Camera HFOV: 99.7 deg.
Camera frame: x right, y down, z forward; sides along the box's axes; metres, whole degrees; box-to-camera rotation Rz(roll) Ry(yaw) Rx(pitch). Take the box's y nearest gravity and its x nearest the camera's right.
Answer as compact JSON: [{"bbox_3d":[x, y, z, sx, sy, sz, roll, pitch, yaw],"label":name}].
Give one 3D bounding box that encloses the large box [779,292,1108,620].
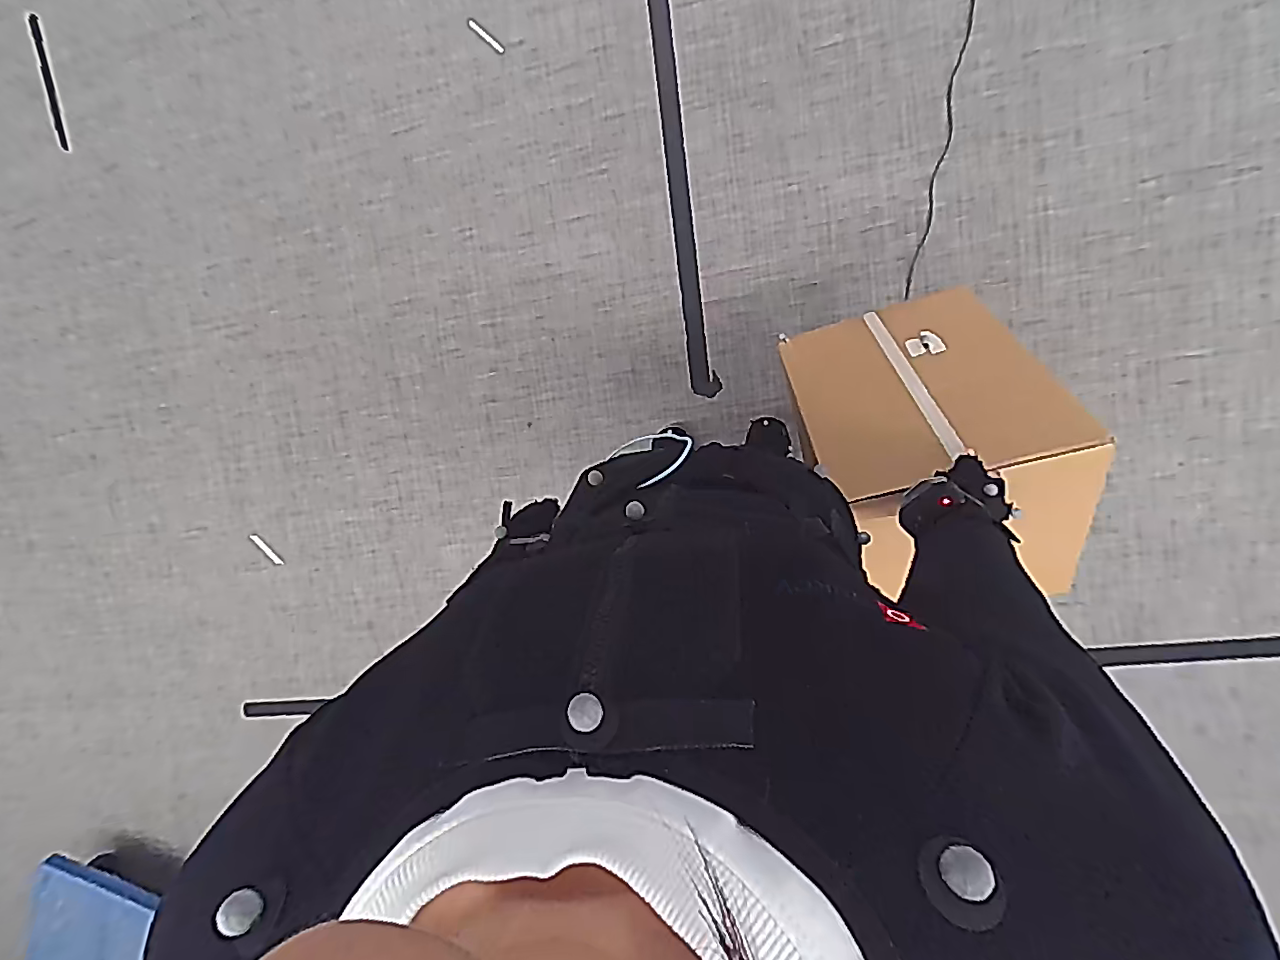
[{"bbox_3d":[0.450,-0.042,0.895,0.320,0.408,0.320,-14,132,13],"label":"large box"}]
